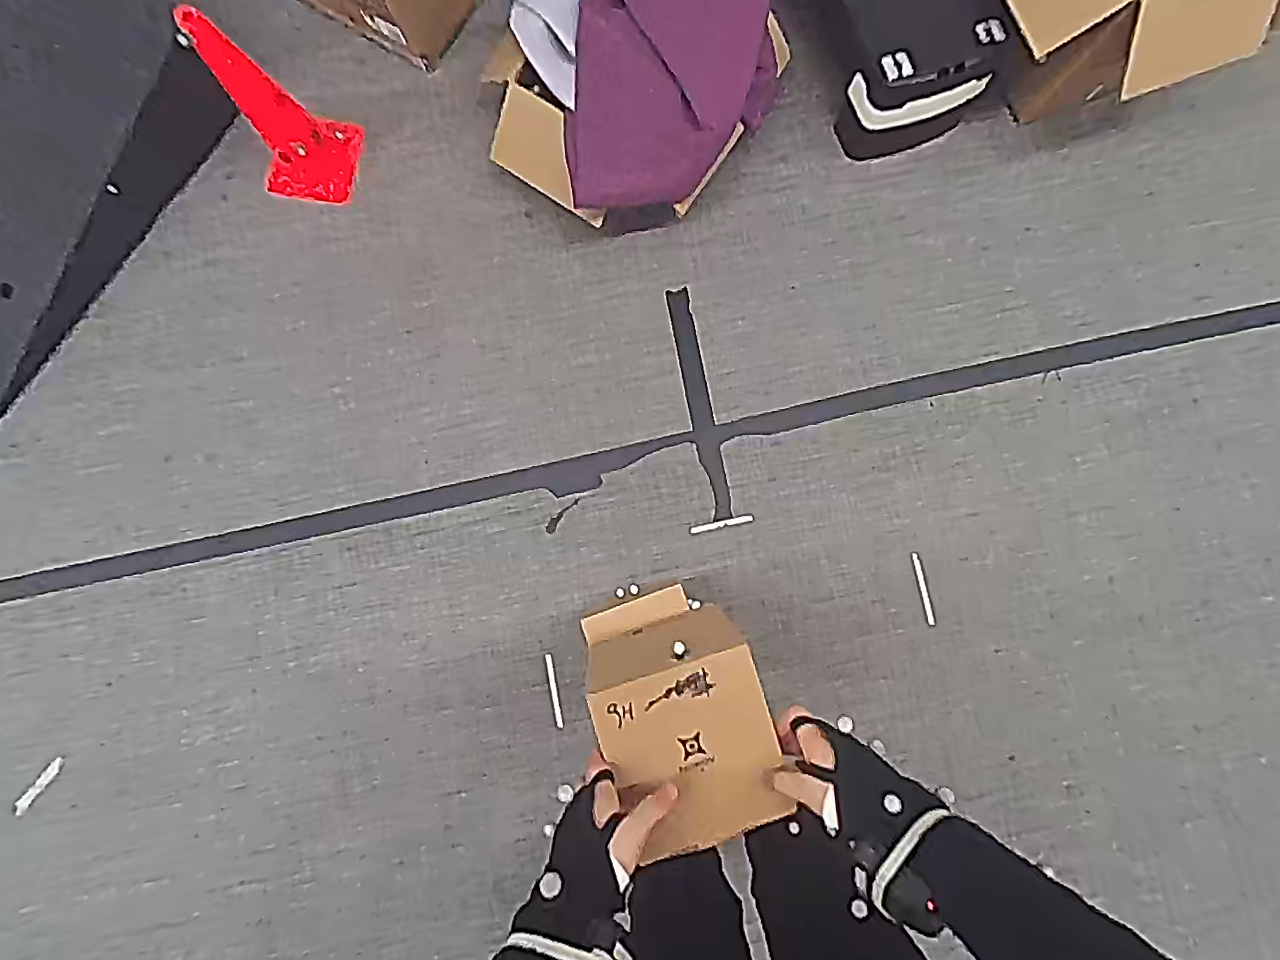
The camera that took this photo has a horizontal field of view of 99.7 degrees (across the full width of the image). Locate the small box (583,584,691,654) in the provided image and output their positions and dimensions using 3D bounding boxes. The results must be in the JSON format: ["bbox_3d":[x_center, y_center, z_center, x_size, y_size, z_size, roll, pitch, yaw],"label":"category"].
[{"bbox_3d":[0.018,0.278,0.887,0.168,0.176,0.179,-20,83,0],"label":"small box"}]

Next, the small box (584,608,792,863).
[{"bbox_3d":[0.045,0.264,0.601,0.168,0.176,0.179,-17,91,-3],"label":"small box"}]
